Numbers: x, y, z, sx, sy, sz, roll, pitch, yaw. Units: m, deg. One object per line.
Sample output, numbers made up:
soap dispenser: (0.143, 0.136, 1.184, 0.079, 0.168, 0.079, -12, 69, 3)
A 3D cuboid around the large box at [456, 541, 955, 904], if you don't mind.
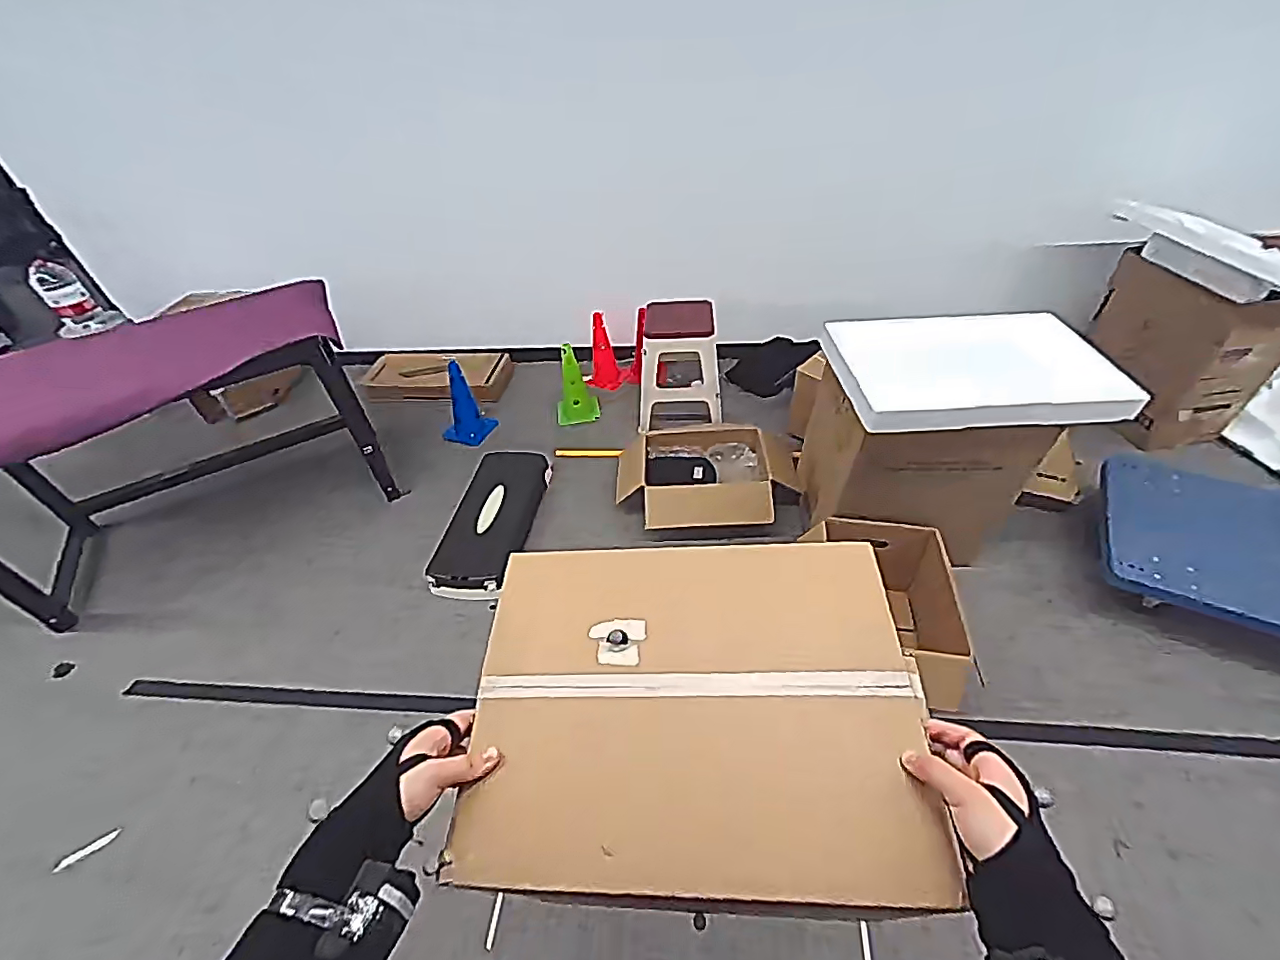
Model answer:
large box: (0.068, 0.296, 0.633, 0.408, 0.320, 0.320, -4, 48, 8)
